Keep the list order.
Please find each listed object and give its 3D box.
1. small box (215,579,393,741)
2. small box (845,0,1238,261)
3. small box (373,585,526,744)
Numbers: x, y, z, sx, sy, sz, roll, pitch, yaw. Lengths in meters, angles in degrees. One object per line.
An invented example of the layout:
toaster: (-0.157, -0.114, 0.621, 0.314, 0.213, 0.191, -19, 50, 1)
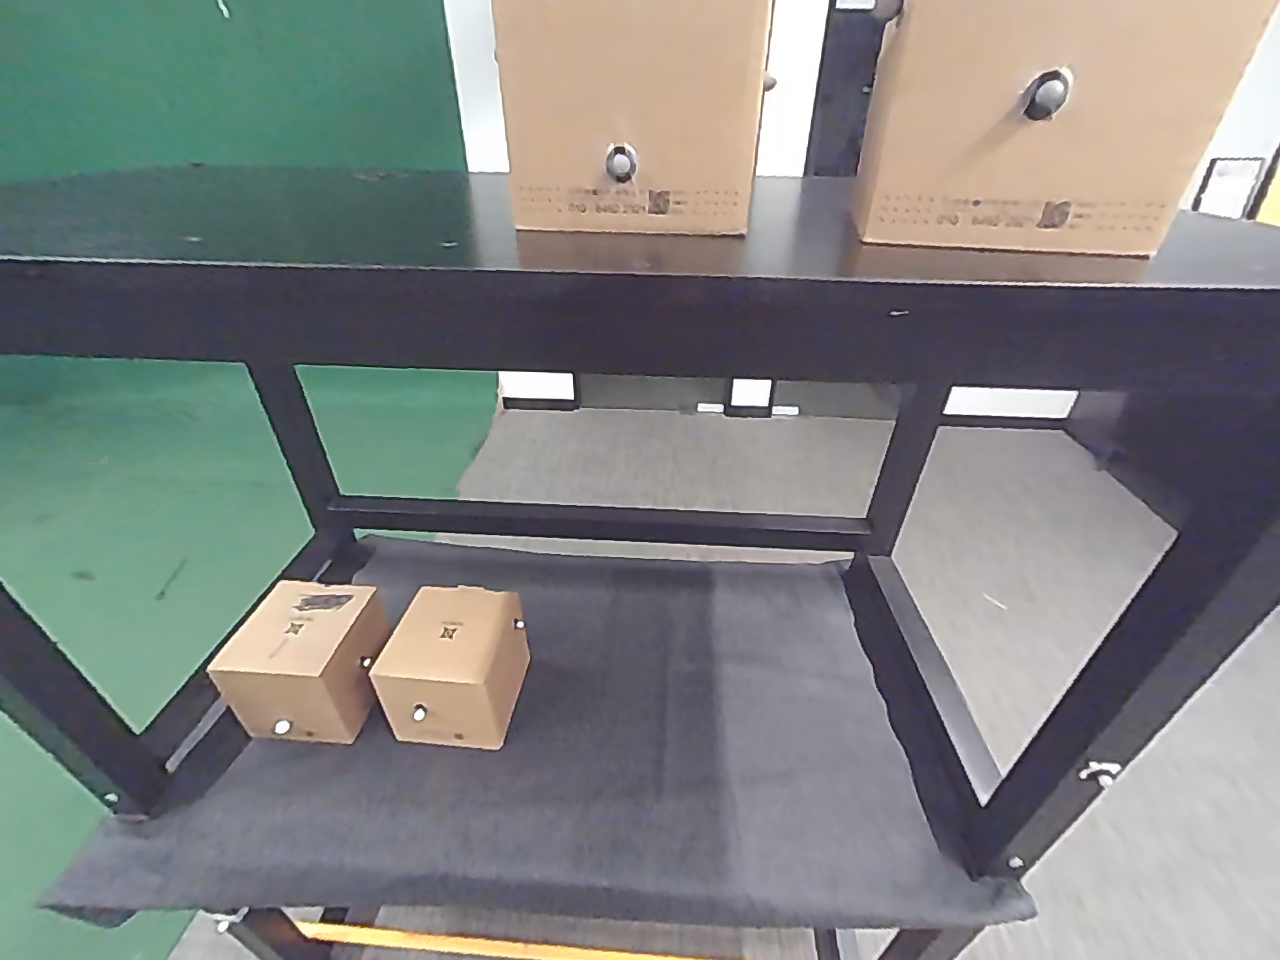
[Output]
small box: (-0.513, 0.283, 0.866, 0.168, 0.176, 0.179, 3, 34, 3)
small box: (0.246, -0.257, 0.374, 0.168, 0.176, 0.179, 9, 34, 12)
small box: (-0.286, 0.292, 0.862, 0.168, 0.176, 0.179, 4, 33, 4)
